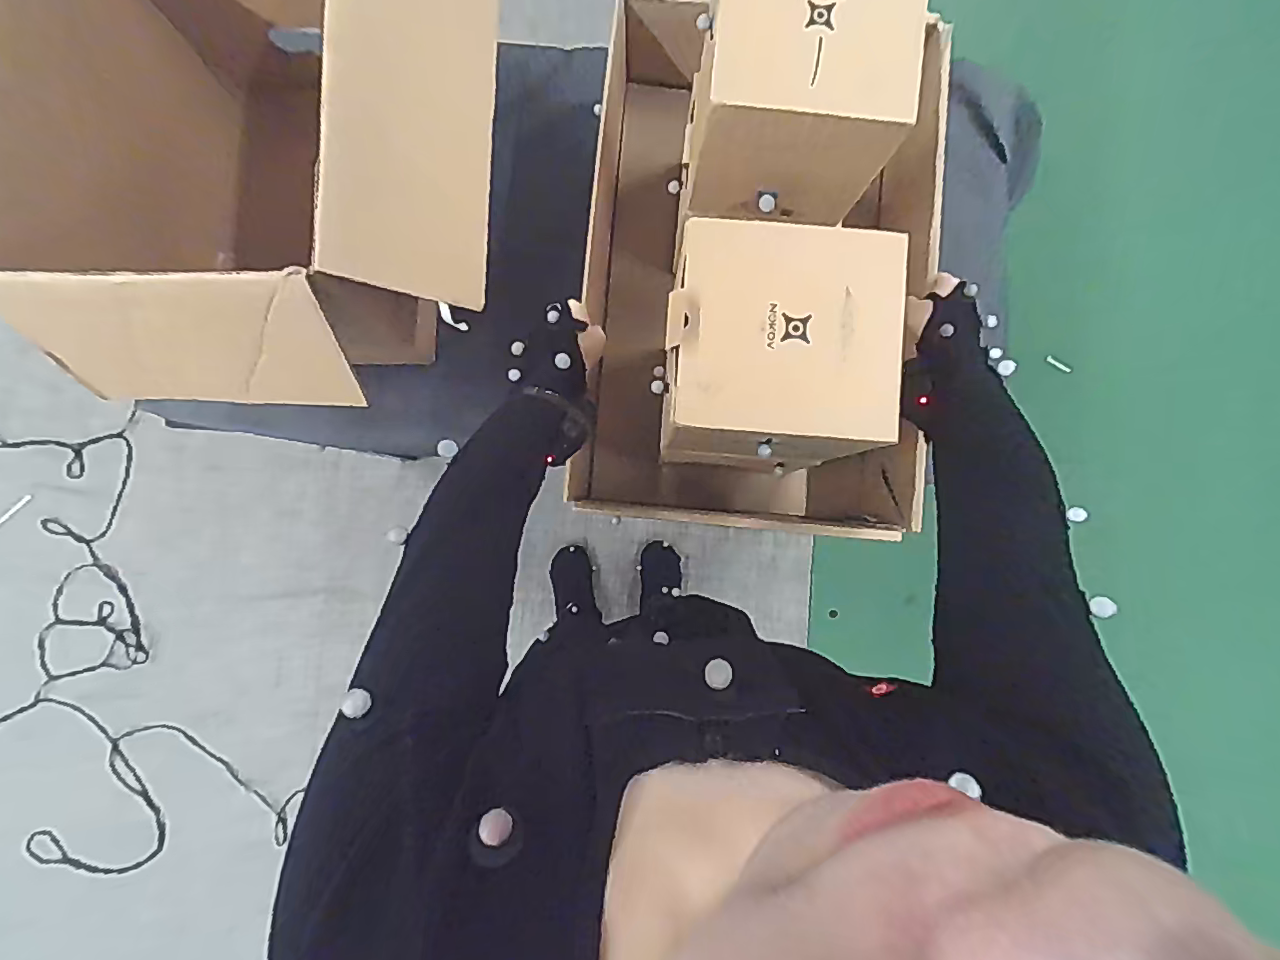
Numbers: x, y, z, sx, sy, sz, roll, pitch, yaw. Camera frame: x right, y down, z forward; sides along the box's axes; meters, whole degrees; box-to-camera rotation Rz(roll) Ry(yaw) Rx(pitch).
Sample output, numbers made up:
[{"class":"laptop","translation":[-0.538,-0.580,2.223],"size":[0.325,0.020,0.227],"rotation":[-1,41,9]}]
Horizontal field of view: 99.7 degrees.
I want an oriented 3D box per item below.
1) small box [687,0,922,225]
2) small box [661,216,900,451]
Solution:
[{"class":"small box","translation":[0.140,-0.374,0.512],"size":[0.168,0.176,0.179],"rotation":[6,90,-1]},{"class":"small box","translation":[0.113,-0.119,0.505],"size":[0.179,0.176,0.168],"rotation":[4,88,-2]}]
